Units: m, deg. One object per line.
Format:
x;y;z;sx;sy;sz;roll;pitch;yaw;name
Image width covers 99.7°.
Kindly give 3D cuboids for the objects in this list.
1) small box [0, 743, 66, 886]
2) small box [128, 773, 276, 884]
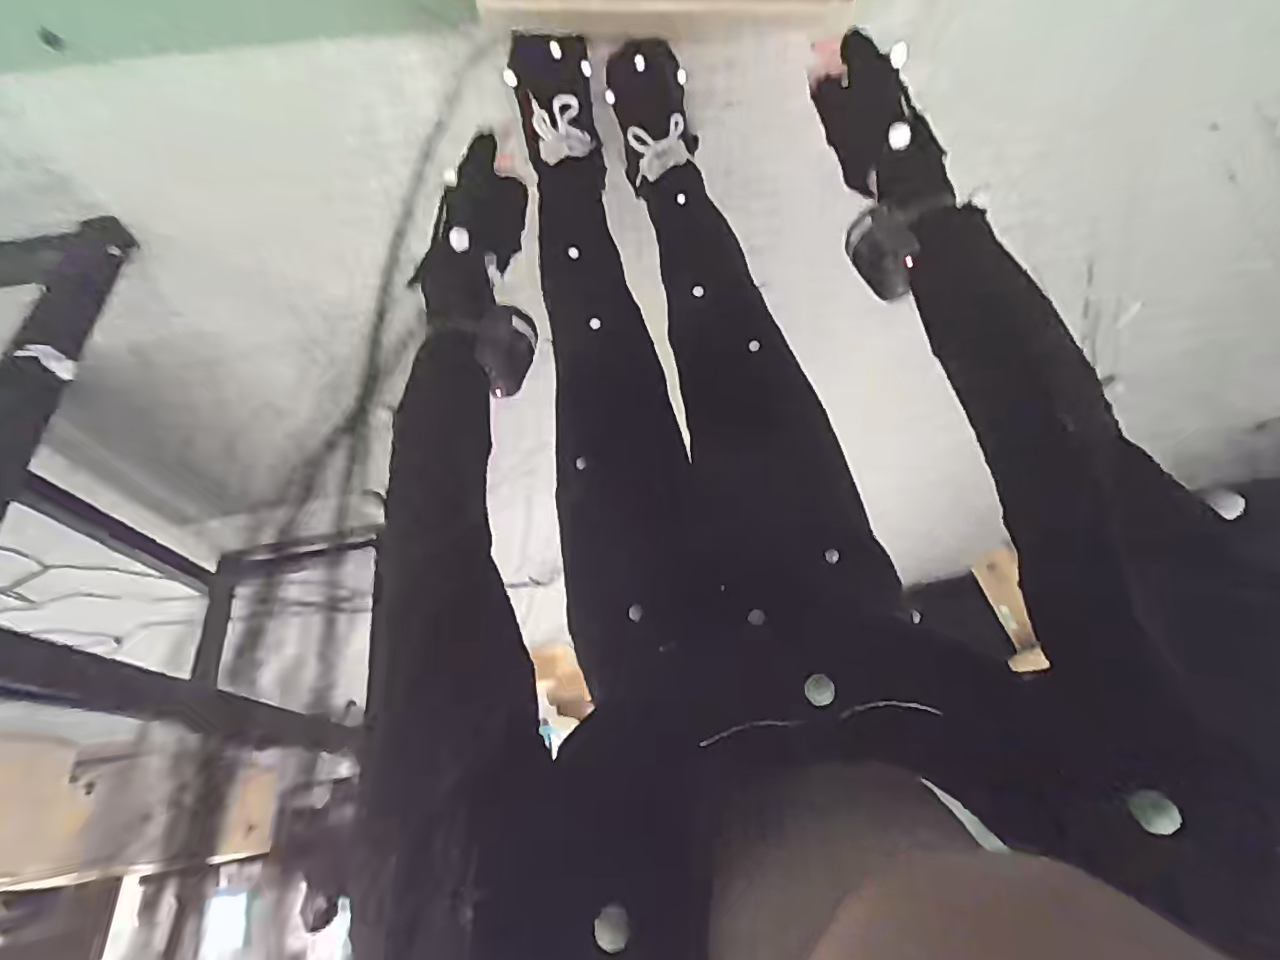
-0.938;0.450;0.708;0.168;0.176;0.179;-11;148;-3;small box
-0.936;0.747;1.174;0.168;0.176;0.179;-13;148;0;small box
